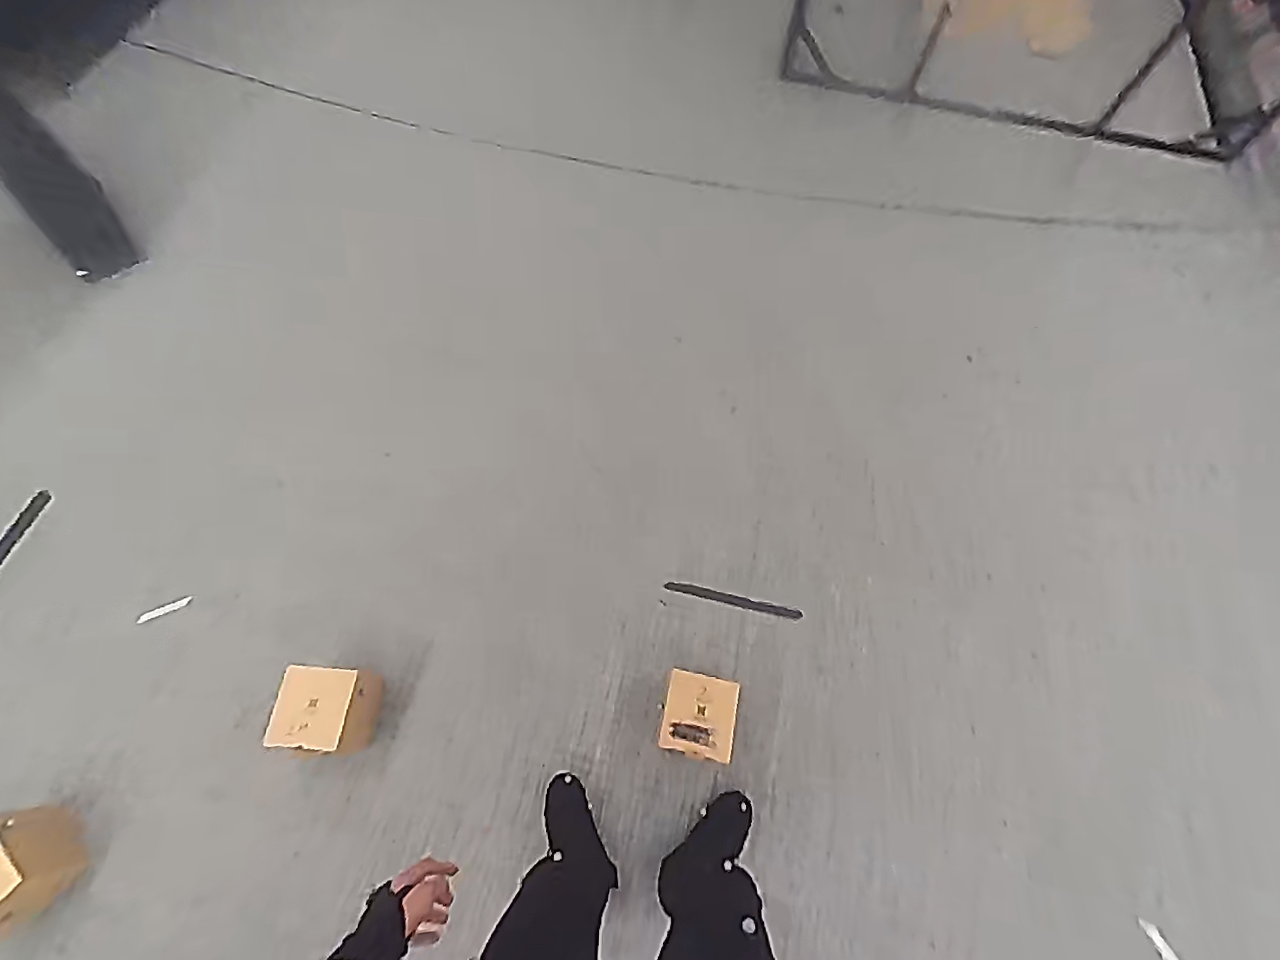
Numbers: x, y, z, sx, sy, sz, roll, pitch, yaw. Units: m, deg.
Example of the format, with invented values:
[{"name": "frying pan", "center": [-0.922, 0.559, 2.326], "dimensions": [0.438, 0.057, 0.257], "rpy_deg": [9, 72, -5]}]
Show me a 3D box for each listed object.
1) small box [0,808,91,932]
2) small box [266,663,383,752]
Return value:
[{"name": "small box", "center": [-1.348, 0.832, 1.148], "dimensions": [0.179, 0.176, 0.168], "rpy_deg": [39, 70, 14]}, {"name": "small box", "center": [-0.744, 0.548, 1.301], "dimensions": [0.168, 0.176, 0.179], "rpy_deg": [5, 66, 0]}]
